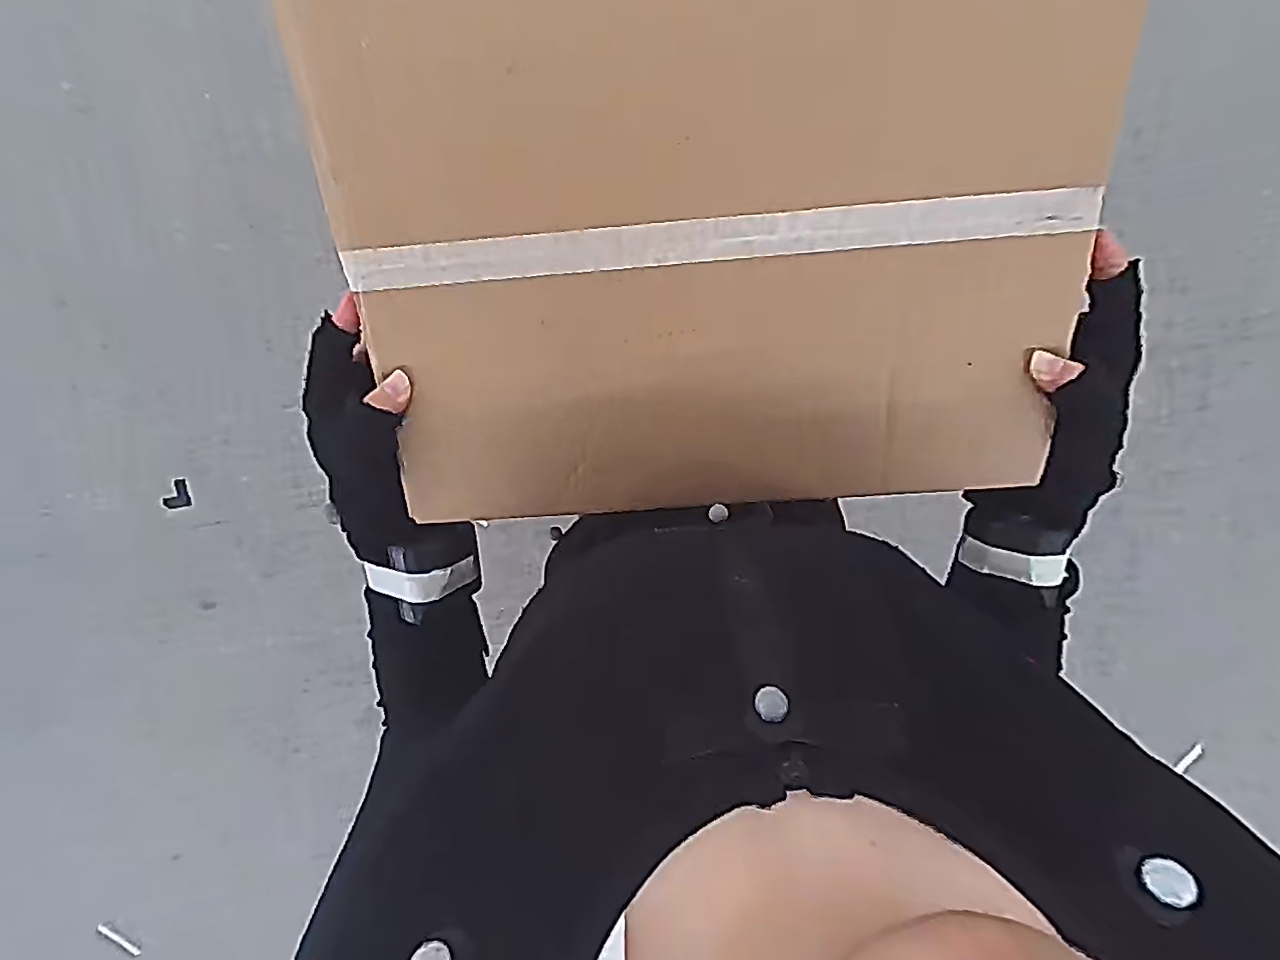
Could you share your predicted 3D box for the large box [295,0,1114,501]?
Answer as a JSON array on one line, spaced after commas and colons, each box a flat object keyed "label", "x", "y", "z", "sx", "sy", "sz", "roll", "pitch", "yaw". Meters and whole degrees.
[{"label": "large box", "x": 0.037, "y": -0.197, "z": 0.438, "sx": 0.408, "sy": 0.320, "sz": 0.320, "roll": -4, "pitch": 113, "yaw": 2}]
